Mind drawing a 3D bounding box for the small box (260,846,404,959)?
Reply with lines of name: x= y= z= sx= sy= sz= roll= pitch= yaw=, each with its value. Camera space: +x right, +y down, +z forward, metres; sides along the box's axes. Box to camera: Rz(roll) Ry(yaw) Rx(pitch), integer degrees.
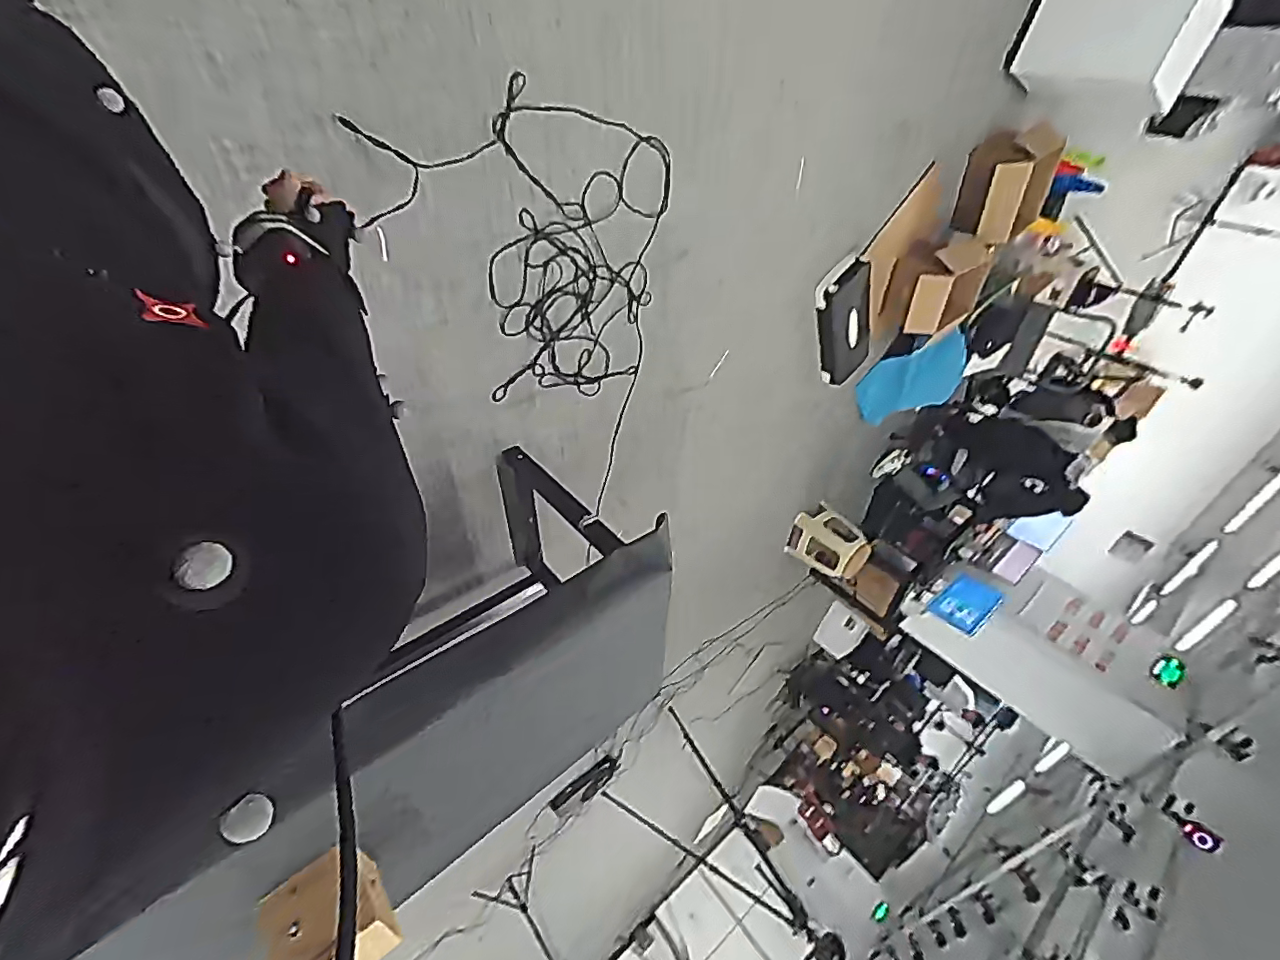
small box: x=-0.577 y=0.836 z=1.017 sx=0.168 sy=0.176 sz=0.179 roll=-28 pitch=139 yaw=-28
